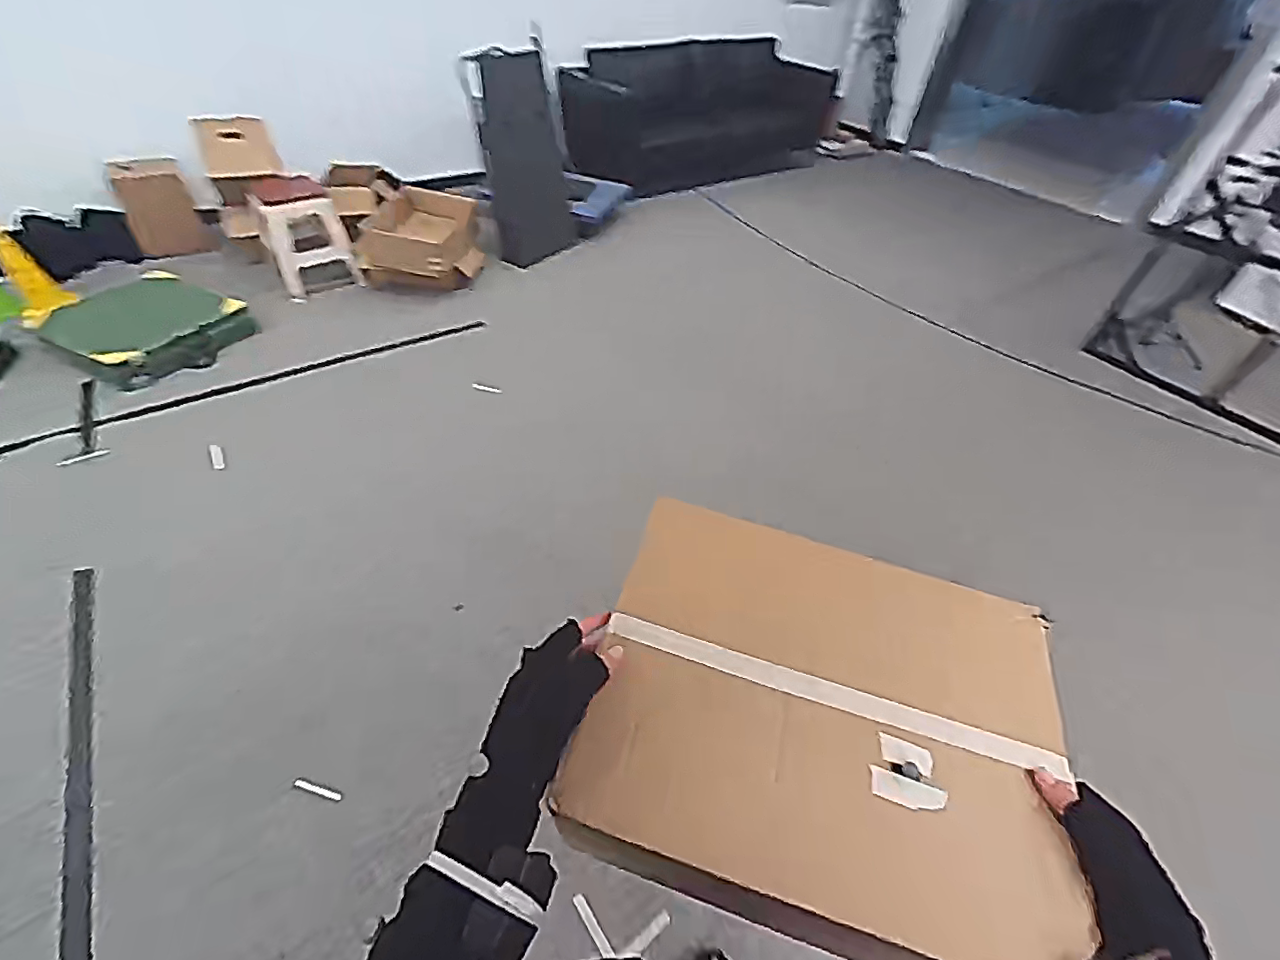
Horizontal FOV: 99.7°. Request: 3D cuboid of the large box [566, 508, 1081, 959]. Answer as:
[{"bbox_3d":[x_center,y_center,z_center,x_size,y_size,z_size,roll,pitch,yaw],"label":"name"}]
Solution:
[{"bbox_3d":[0.155,0.285,0.613,0.408,0.320,0.320,16,53,7],"label":"large box"}]
